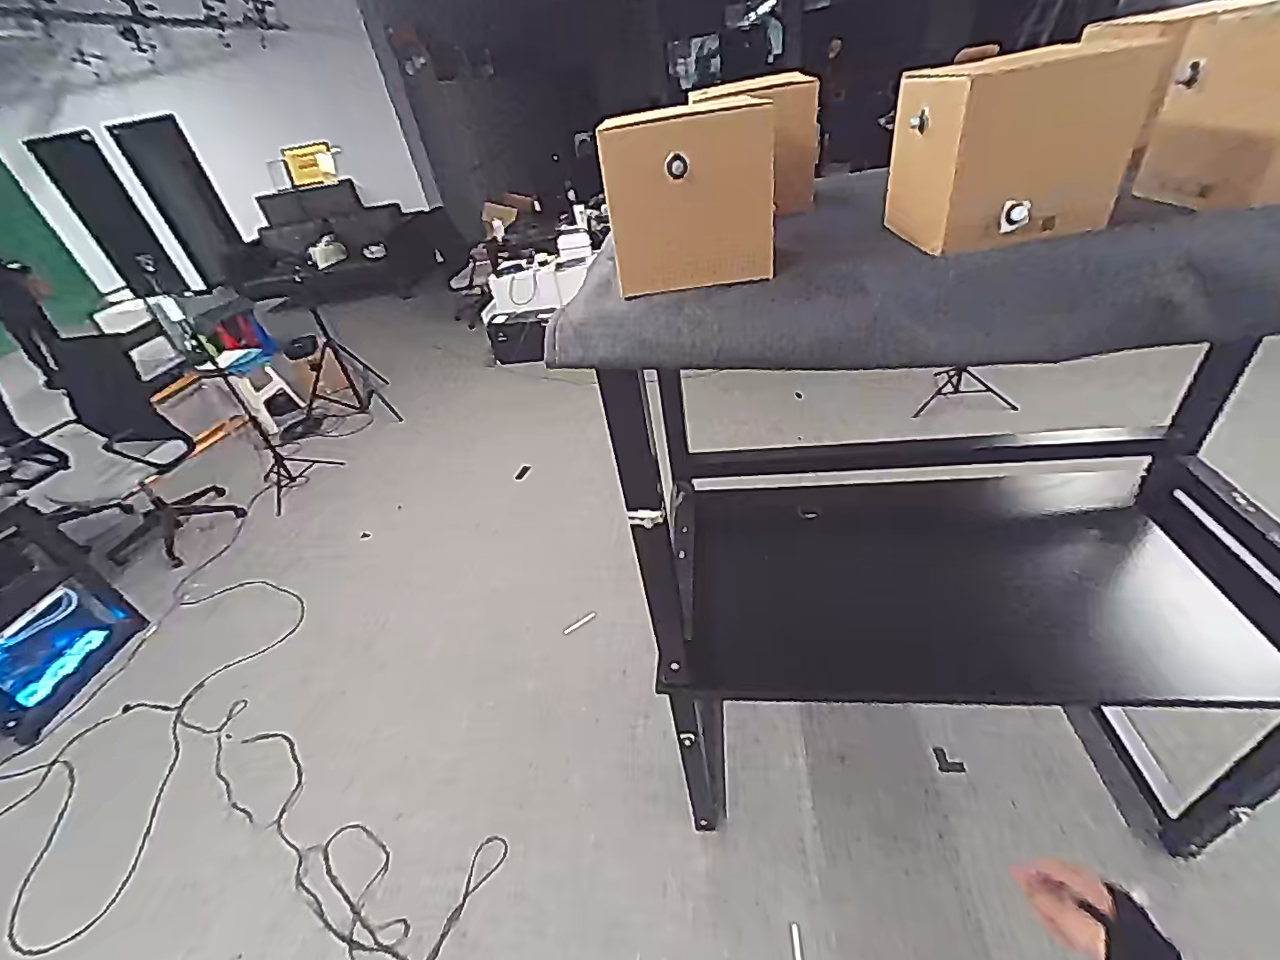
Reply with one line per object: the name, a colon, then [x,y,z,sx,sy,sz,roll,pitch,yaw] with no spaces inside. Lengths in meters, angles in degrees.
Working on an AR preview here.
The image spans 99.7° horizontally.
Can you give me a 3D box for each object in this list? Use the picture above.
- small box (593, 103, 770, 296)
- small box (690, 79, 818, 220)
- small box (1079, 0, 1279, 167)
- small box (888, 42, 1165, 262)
small box: [0.052,-0.325,0.630,0.179,0.176,0.168,-5,36,5]
small box: [0.170,-0.512,0.851,0.179,0.176,0.168,-4,38,7]
small box: [0.740,-0.551,0.767,0.168,0.176,0.179,-4,38,9]
small box: [0.386,-0.349,0.587,0.168,0.176,0.179,-6,36,7]
